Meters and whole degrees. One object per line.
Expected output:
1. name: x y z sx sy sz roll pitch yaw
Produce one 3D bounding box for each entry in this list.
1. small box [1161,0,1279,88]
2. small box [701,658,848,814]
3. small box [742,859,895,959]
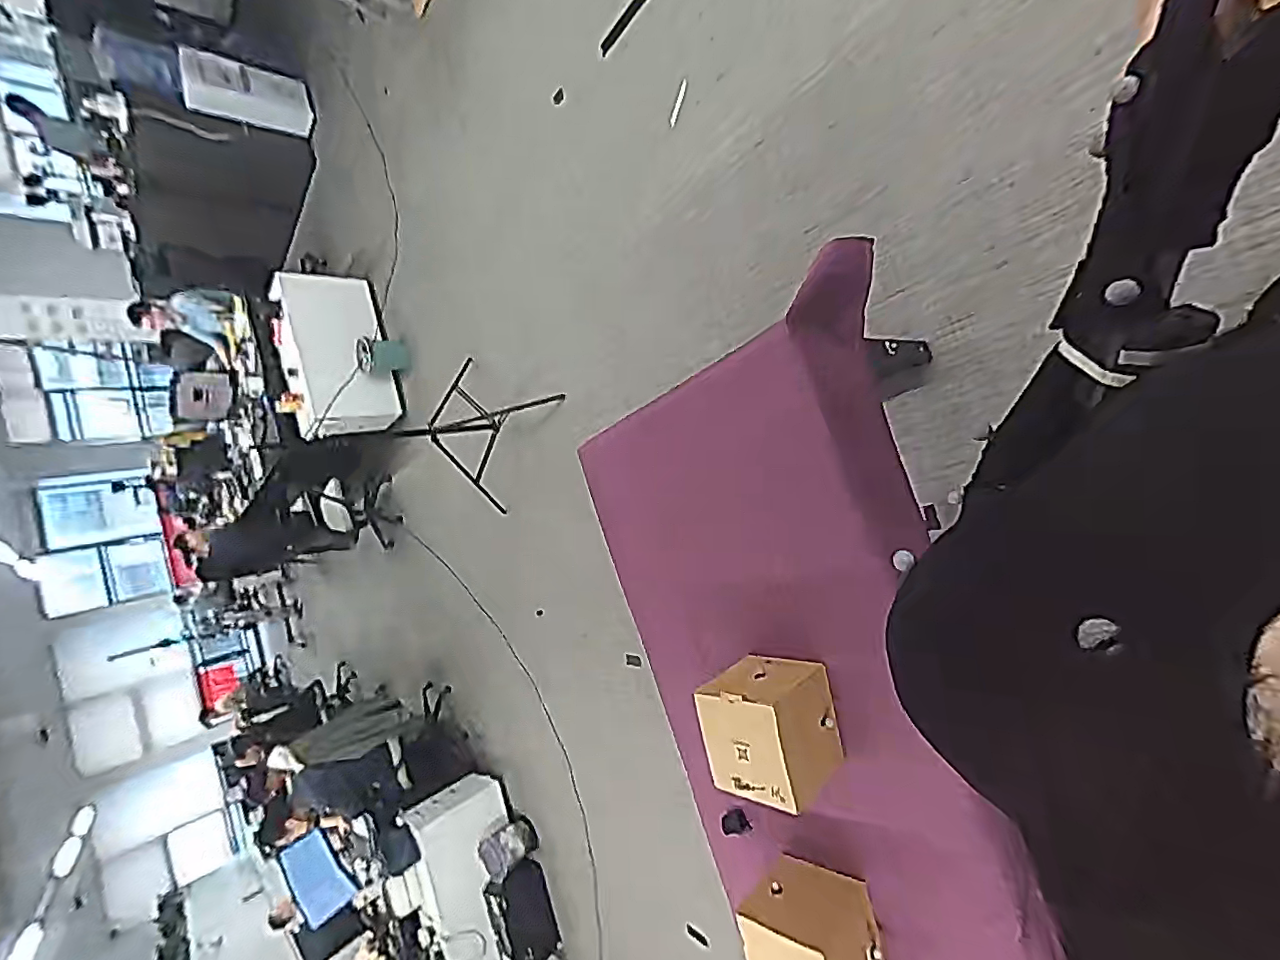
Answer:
1. small box: 0.391 -0.352 0.271 0.168 0.176 0.179 -11 99 33
2. small box: 0.234 0.424 0.934 0.168 0.176 0.179 -13 89 47
3. small box: 0.313 0.807 0.943 0.179 0.176 0.168 -18 87 46
